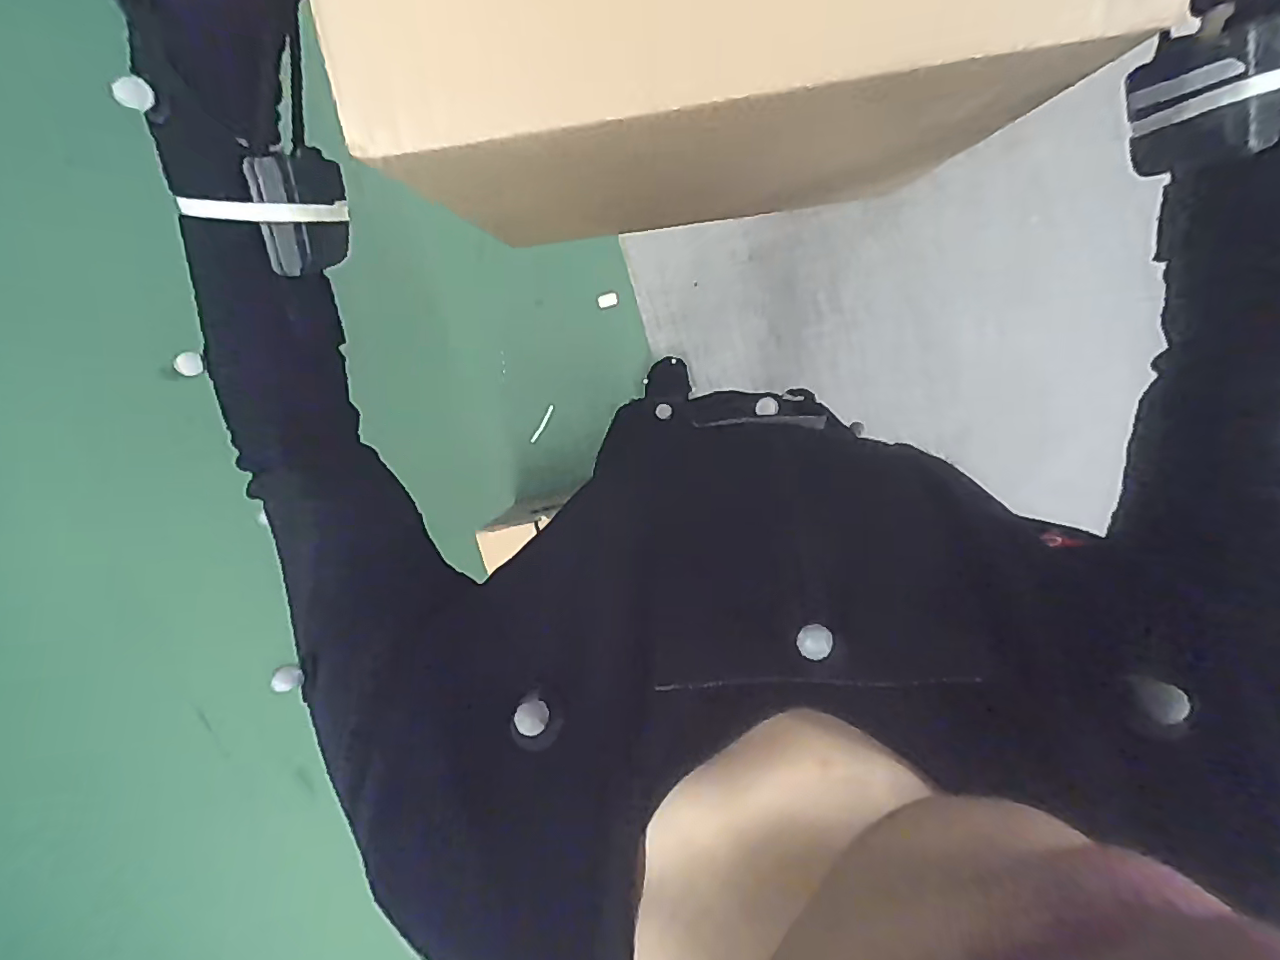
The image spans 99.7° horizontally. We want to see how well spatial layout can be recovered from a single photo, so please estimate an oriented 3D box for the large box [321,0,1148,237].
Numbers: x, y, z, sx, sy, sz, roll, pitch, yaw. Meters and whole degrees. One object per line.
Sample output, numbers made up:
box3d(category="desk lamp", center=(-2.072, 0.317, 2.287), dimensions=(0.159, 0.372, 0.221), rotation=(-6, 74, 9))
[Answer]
box3d(category="large box", center=(0.030, -0.383, 0.370), dimensions=(0.408, 0.320, 0.320), rotation=(-7, 106, 3))
